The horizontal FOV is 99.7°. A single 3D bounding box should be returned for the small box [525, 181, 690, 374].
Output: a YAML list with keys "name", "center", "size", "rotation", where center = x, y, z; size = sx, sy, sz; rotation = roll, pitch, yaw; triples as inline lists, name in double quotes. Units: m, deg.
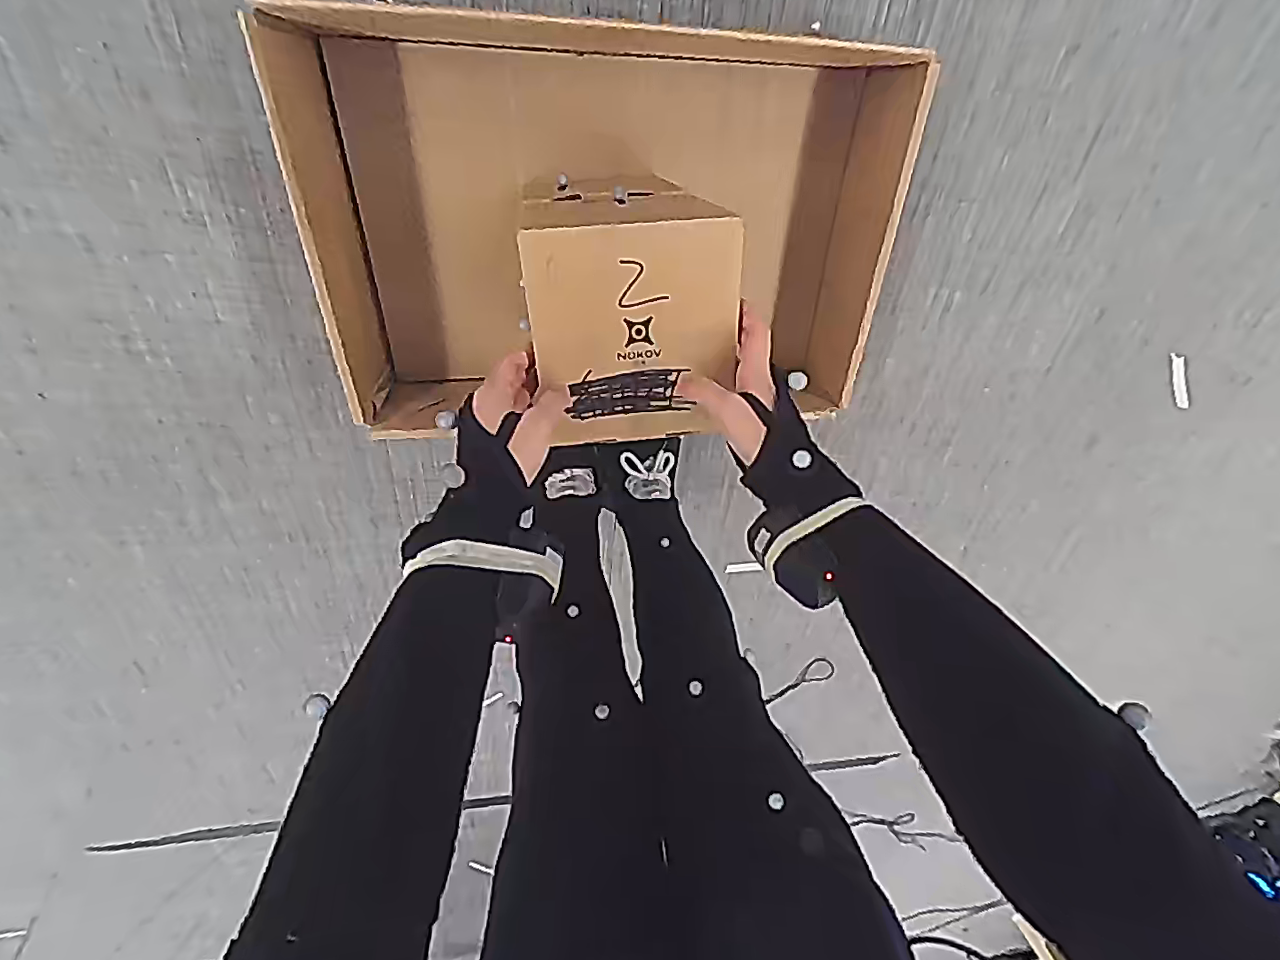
- name: "small box"
  center: [-0.041, -0.244, 0.633]
  size: [0.168, 0.176, 0.179]
  rotation: [-7, 126, -6]
